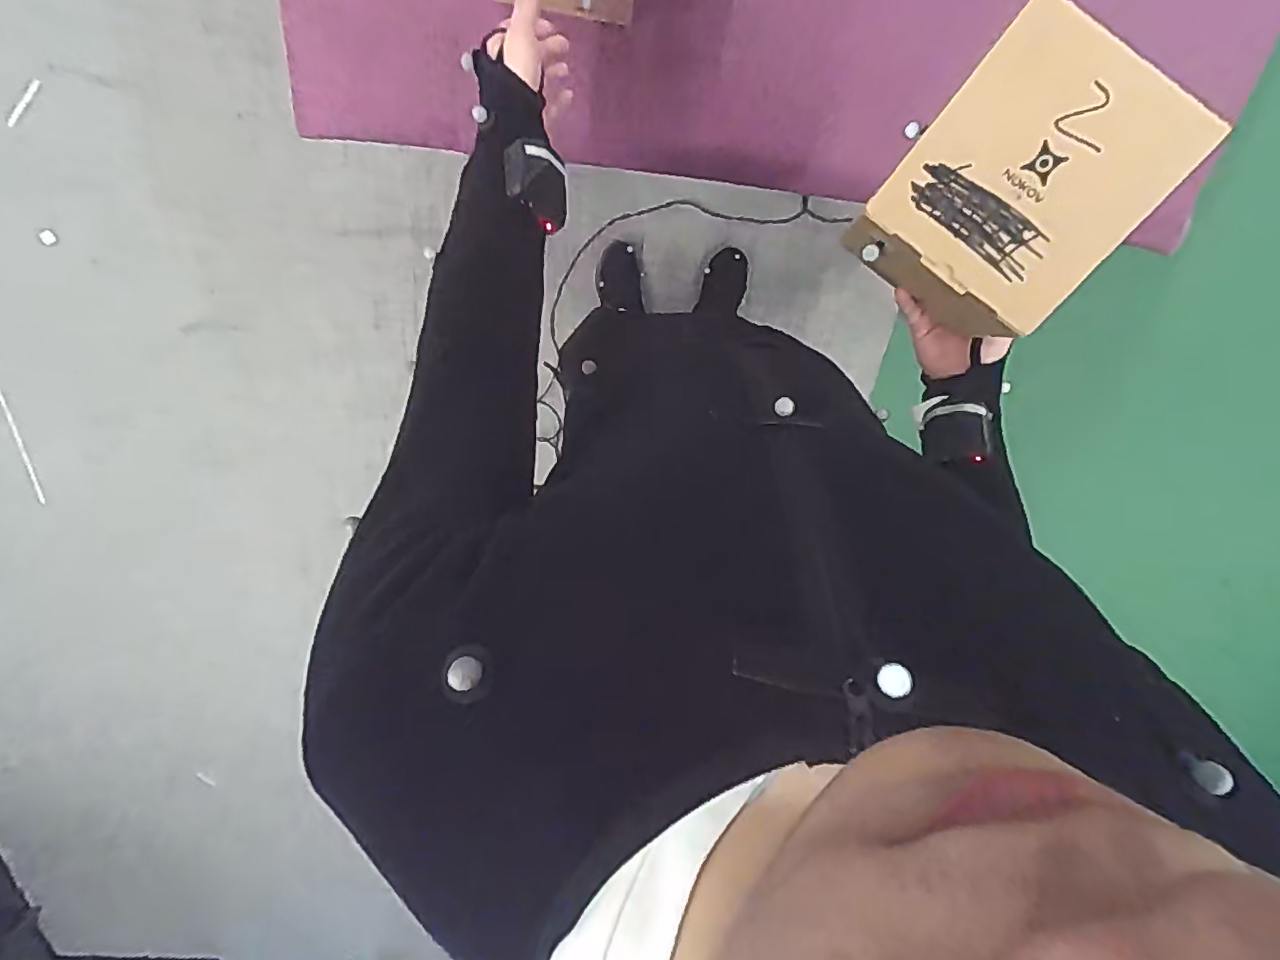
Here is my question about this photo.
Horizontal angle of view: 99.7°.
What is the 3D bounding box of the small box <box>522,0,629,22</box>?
[{"bbox_3d":[-0.082,-0.601,0.539,0.168,0.176,0.179,7,114,-6],"label":"small box"}]
